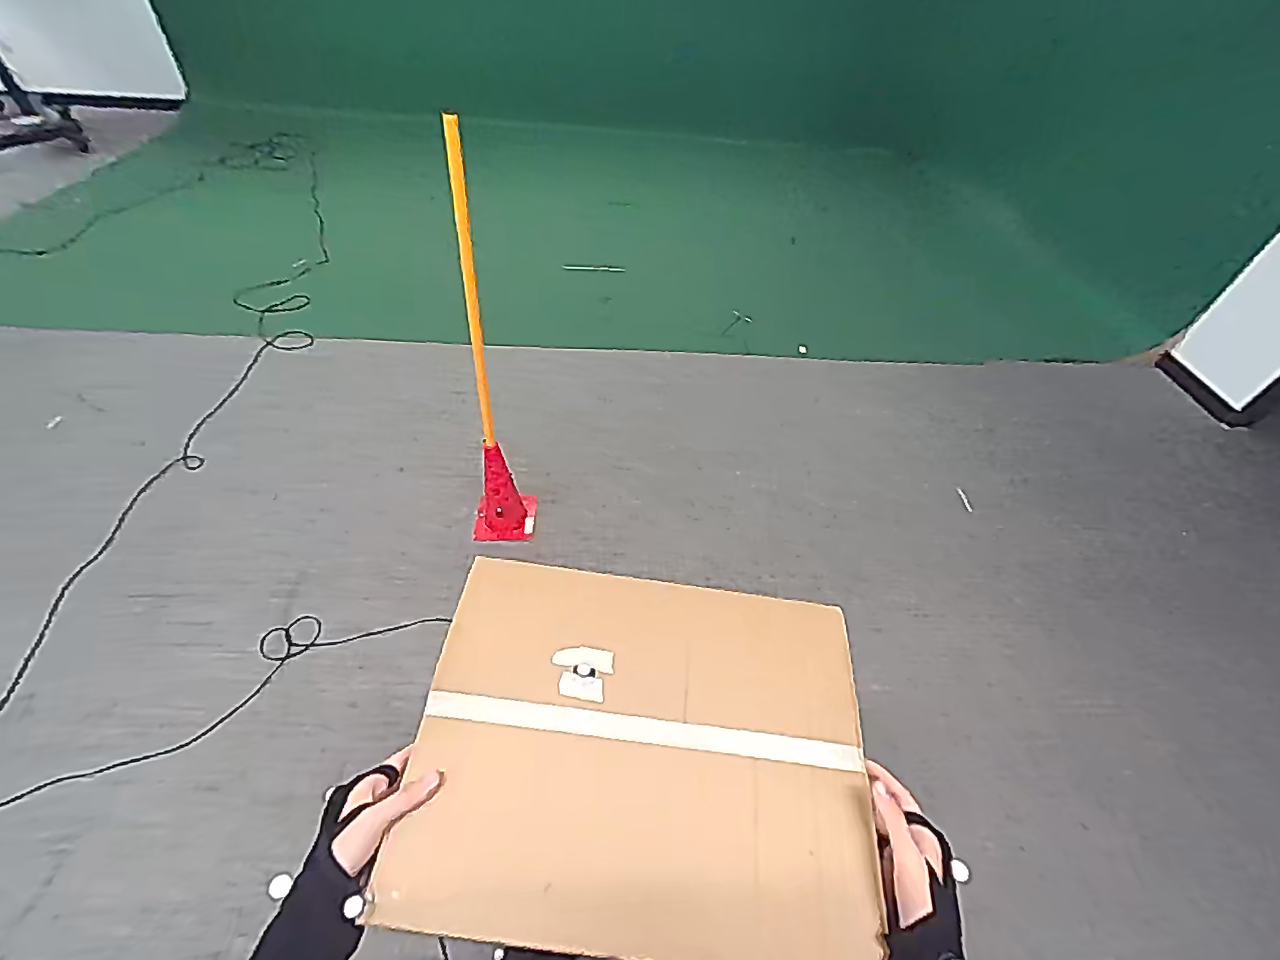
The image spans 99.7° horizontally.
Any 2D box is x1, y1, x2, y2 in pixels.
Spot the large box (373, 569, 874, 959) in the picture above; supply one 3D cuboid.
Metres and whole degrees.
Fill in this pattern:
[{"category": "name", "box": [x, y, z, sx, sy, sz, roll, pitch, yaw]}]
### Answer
[{"category": "large box", "box": [-0.009, 0.331, 0.628, 0.408, 0.320, 0.320, 7, 51, 0]}]
